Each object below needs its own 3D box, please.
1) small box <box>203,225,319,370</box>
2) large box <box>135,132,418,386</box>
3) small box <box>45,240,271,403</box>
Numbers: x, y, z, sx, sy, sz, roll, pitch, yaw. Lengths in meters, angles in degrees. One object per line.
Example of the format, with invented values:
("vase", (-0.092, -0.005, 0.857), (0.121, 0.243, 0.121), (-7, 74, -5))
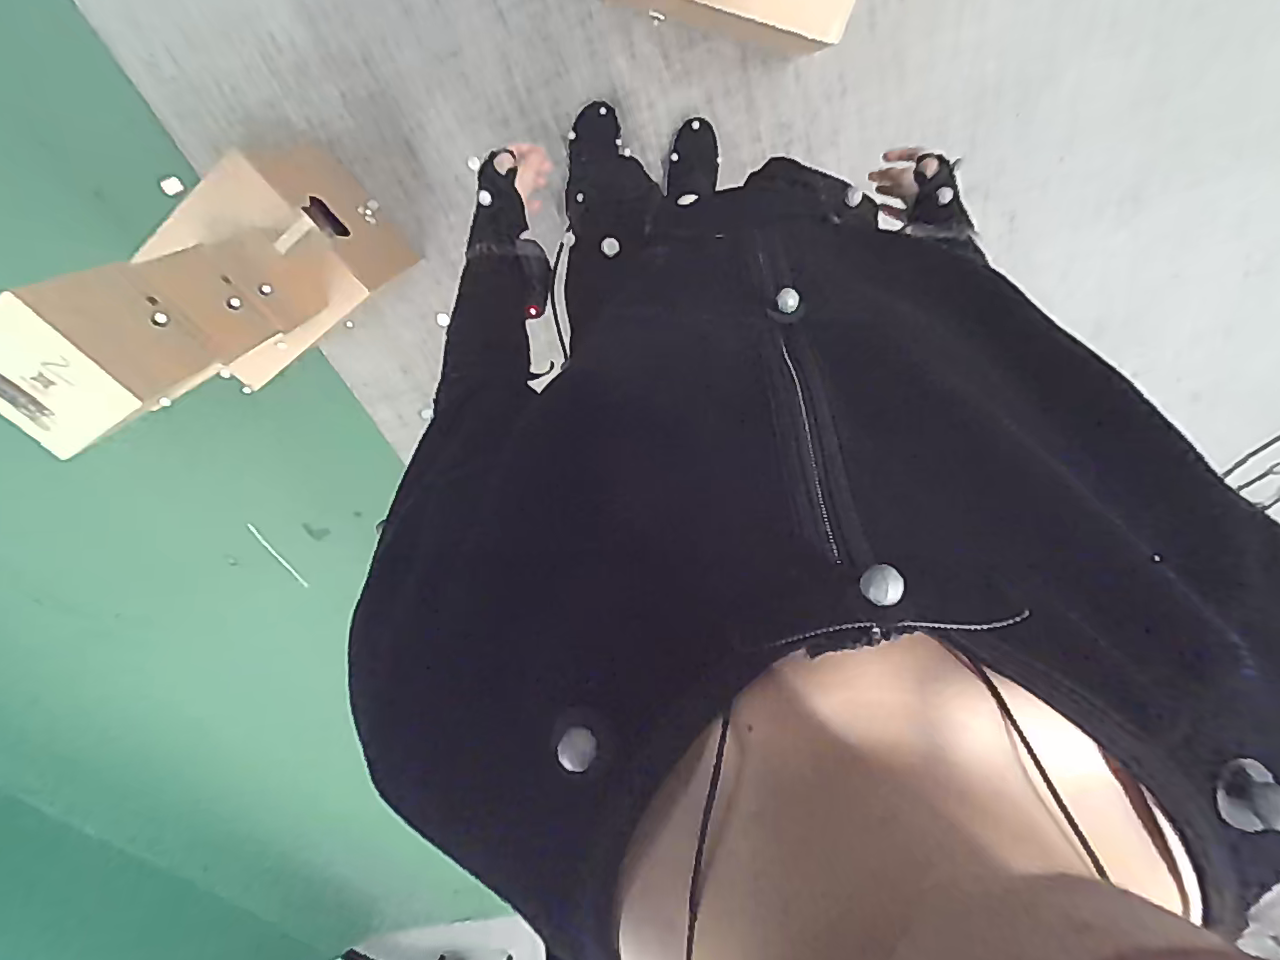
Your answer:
("small box", (-0.747, -0.341, 1.002), (0.168, 0.176, 0.179), (-24, 121, 16))
("large box", (-0.784, -0.489, 1.199), (0.408, 0.320, 0.320), (-28, 118, 20))
("small box", (-0.748, -0.256, 0.864), (0.179, 0.176, 0.168), (-23, 121, 15))
